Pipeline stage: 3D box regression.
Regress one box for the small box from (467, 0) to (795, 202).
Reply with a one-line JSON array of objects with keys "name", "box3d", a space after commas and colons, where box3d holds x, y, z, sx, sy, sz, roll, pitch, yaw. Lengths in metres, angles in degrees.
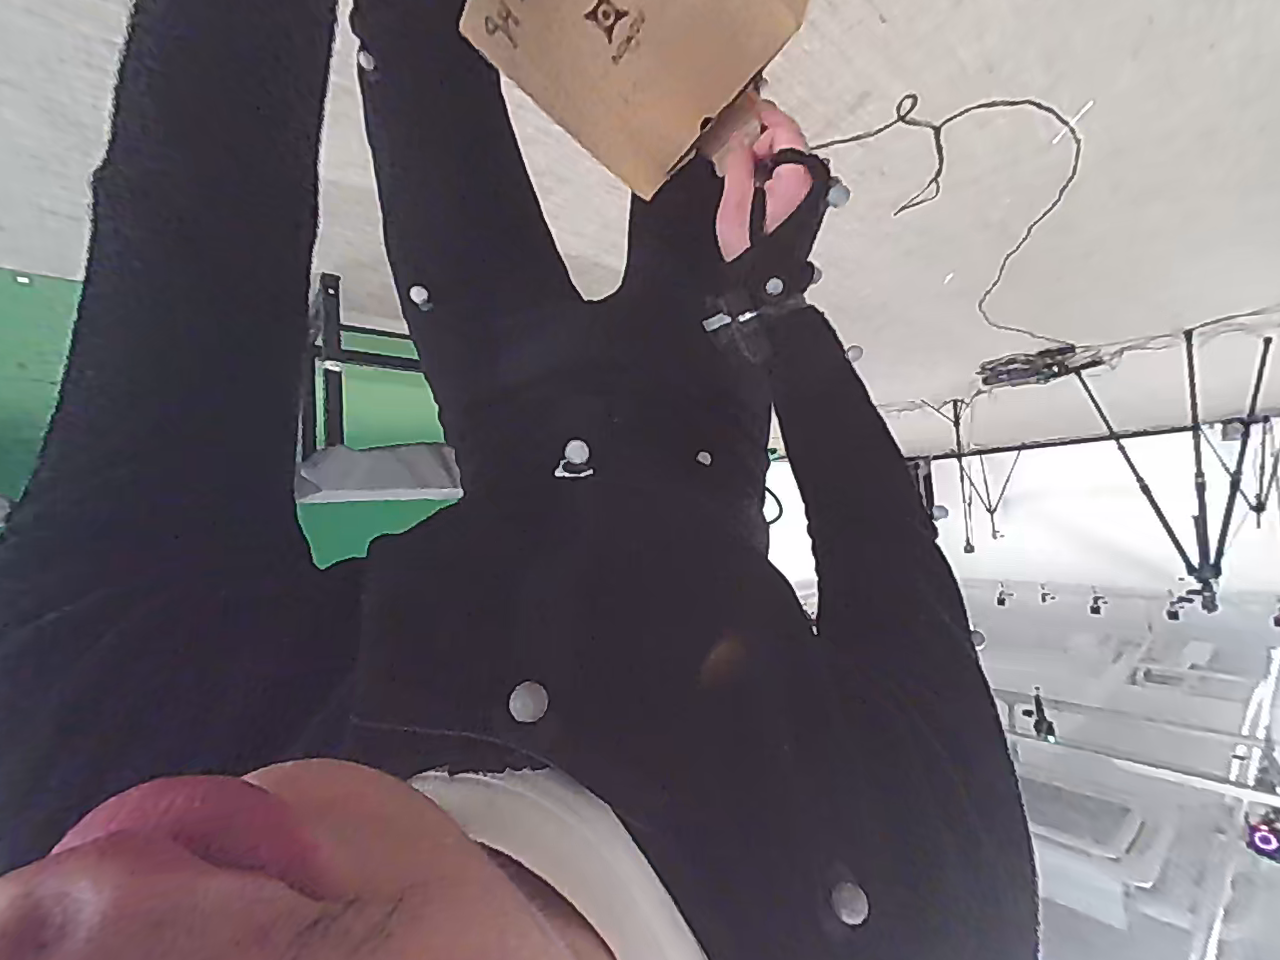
[{"name": "small box", "box3d": [0.008, -0.362, 0.399, 0.179, 0.176, 0.168, 32, 150, -21]}]
